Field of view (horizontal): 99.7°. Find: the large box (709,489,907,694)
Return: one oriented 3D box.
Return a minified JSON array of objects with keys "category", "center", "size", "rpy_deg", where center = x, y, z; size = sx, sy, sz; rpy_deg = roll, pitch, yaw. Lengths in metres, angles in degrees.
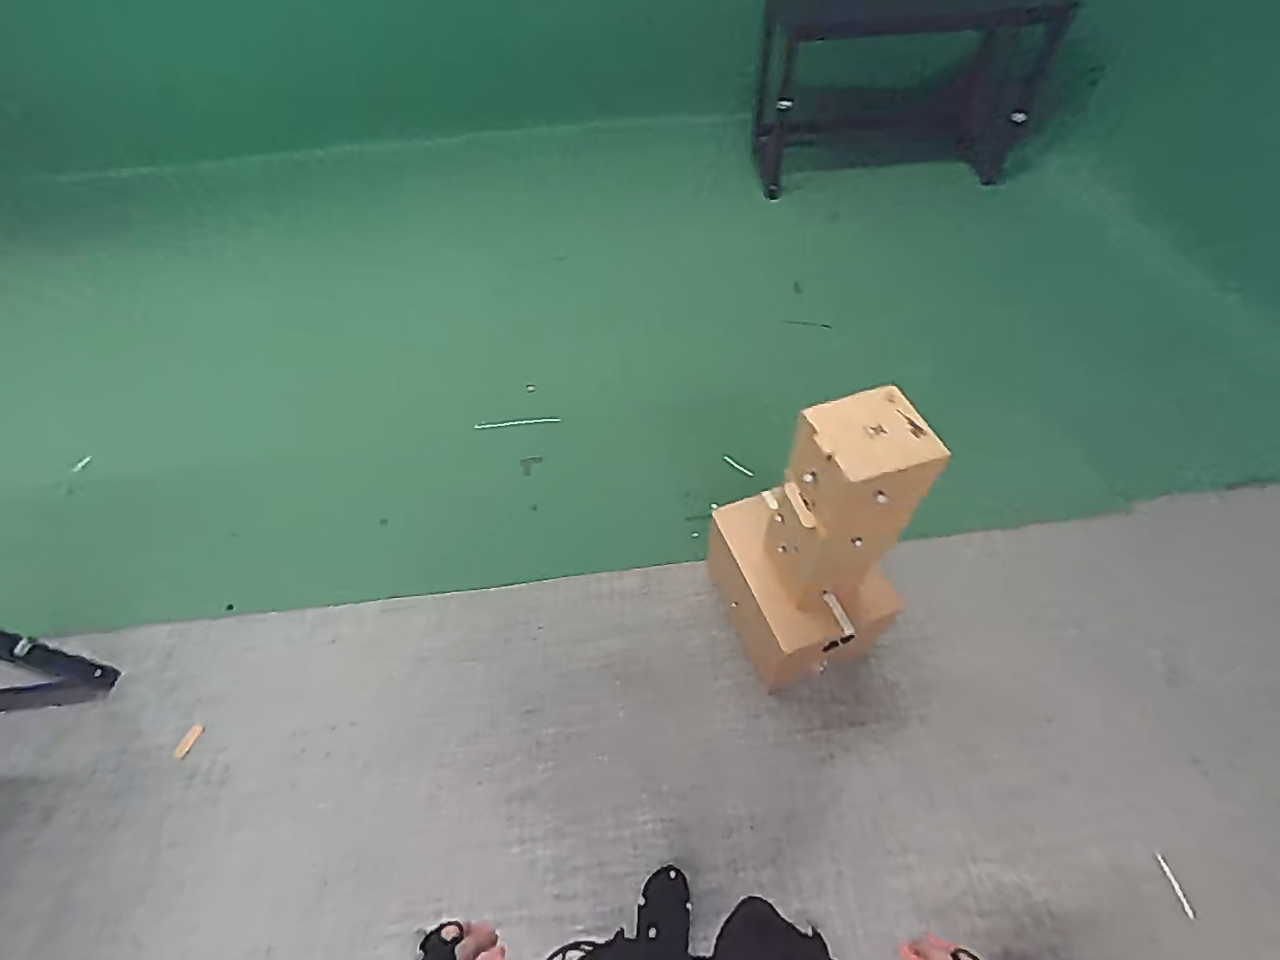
[{"category":"large box","center":[0.405,0.280,1.423],"size":[0.320,0.320,0.408],"rpy_deg":[-17,54,-10]}]

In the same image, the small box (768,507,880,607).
[{"category":"small box","center":[0.401,0.158,1.210],"size":[0.168,0.176,0.179],"rpy_deg":[-16,55,-6]}]

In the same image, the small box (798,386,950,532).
[{"category":"small box","center":[0.389,-0.031,0.942],"size":[0.179,0.176,0.168],"rpy_deg":[-16,55,-5]}]

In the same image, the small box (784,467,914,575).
[{"category":"small box","center":[0.398,0.069,1.072],"size":[0.179,0.176,0.168],"rpy_deg":[-14,54,-5]}]
